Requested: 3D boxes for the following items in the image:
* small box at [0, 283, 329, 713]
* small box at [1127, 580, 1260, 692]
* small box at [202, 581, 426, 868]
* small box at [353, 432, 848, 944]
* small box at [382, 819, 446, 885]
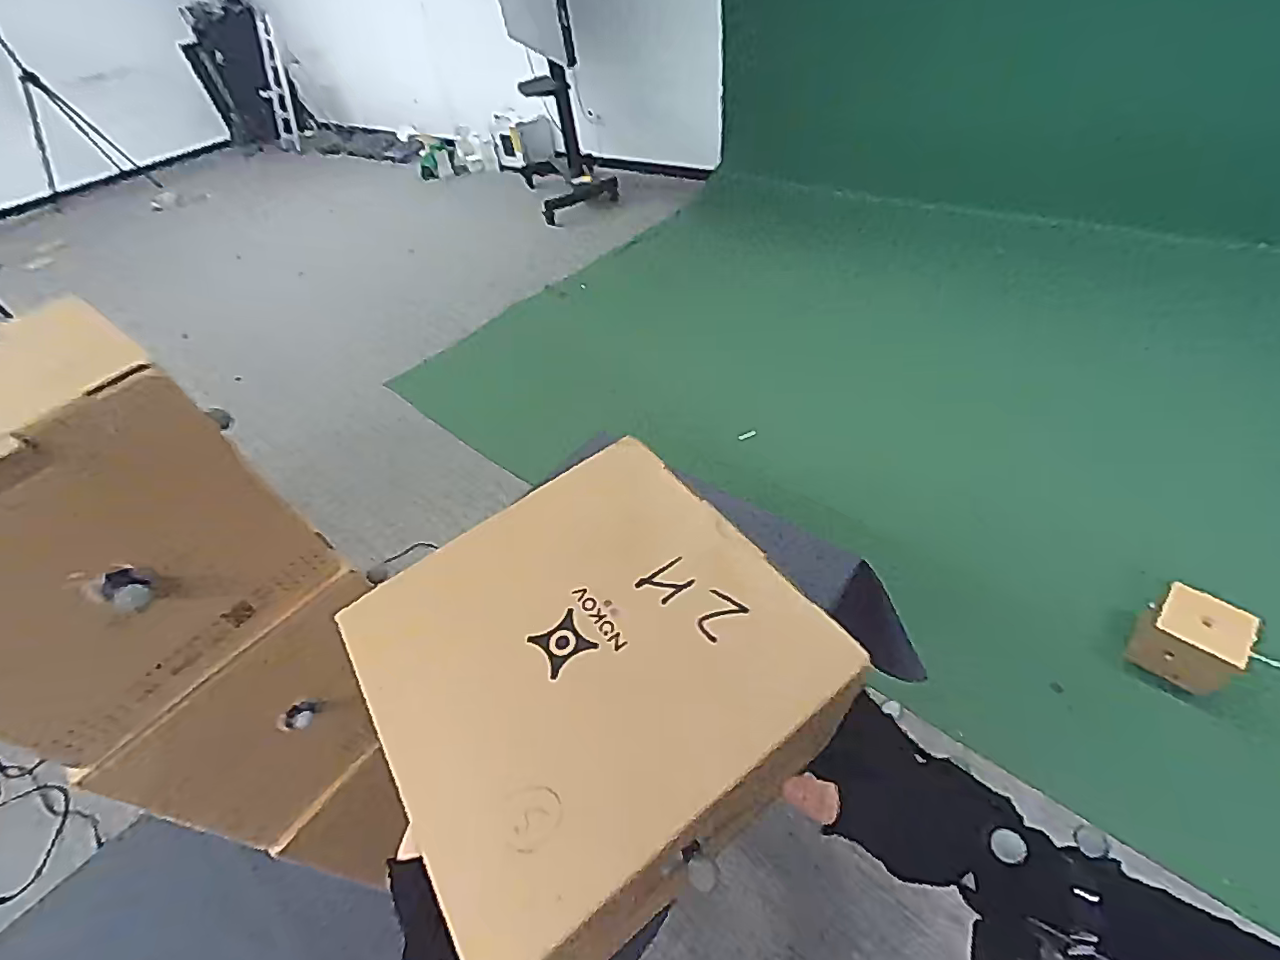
[{"bbox_3d":[-0.334,0.011,0.327,0.179,0.176,0.168,26,56,31],"label":"small box"},{"bbox_3d":[1.383,0.396,1.363,0.179,0.176,0.168,-38,52,-26],"label":"small box"},{"bbox_3d":[-0.274,0.244,0.549,0.168,0.176,0.179,25,55,31],"label":"small box"},{"bbox_3d":[-0.016,0.112,0.301,0.179,0.176,0.168,-32,51,-18],"label":"small box"},{"bbox_3d":[-0.248,0.355,0.665,0.179,0.176,0.168,29,57,31],"label":"small box"}]
